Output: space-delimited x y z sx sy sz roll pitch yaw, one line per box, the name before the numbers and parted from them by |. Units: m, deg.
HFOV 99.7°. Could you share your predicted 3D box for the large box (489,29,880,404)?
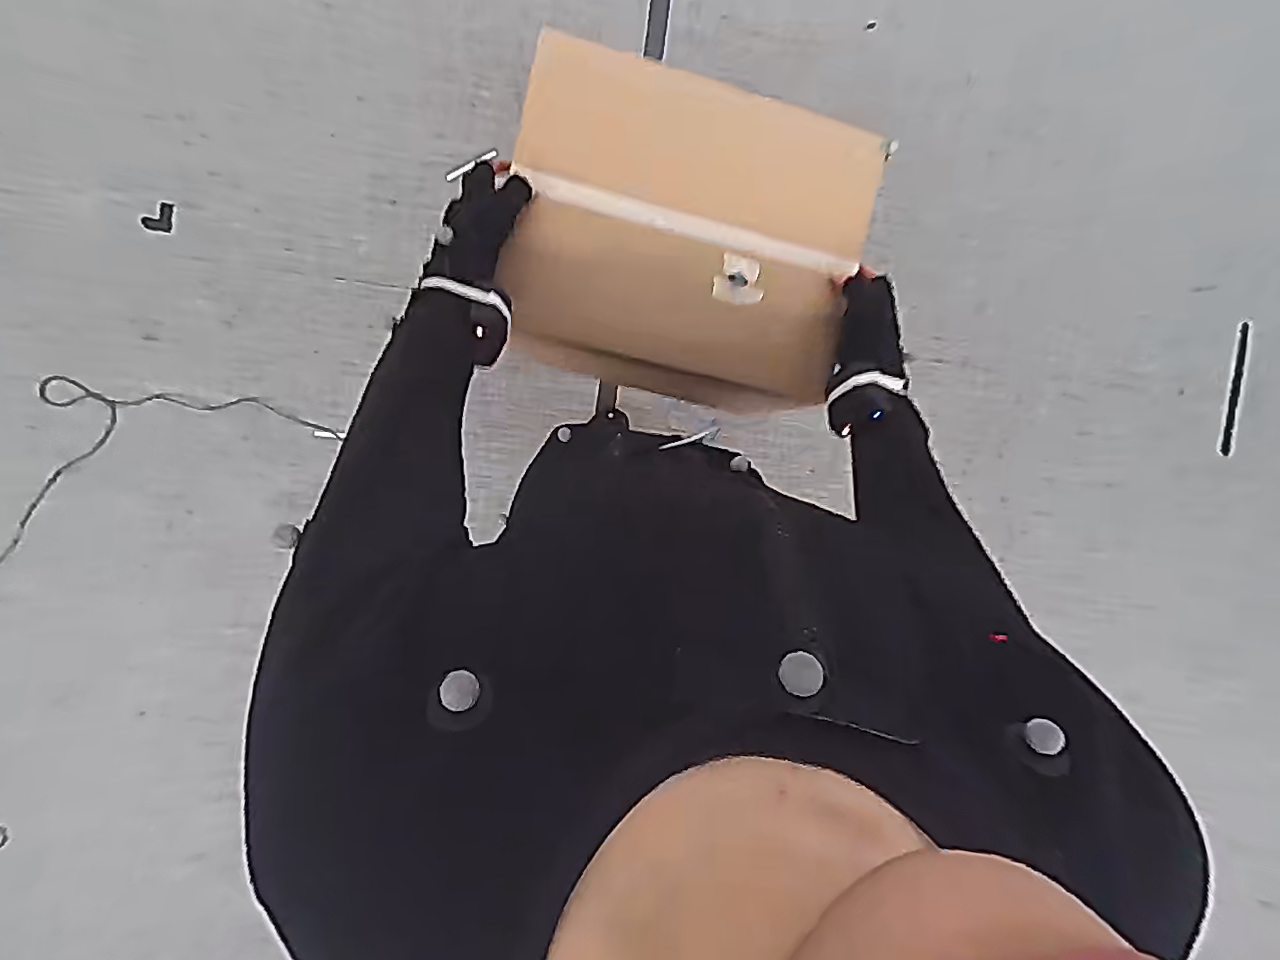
large box | 0.036 -0.306 0.755 0.408 0.320 0.320 13 94 -8
